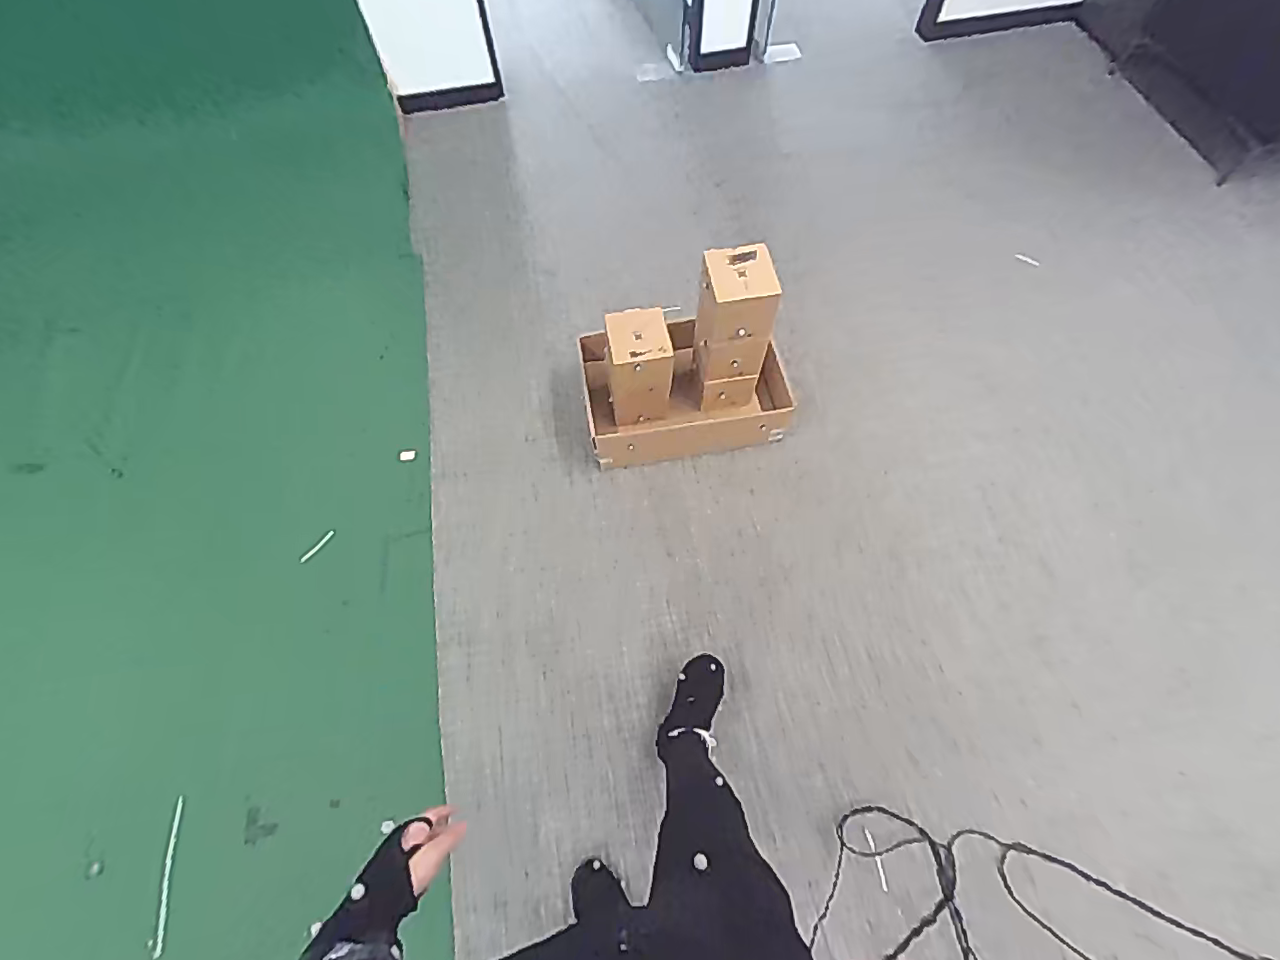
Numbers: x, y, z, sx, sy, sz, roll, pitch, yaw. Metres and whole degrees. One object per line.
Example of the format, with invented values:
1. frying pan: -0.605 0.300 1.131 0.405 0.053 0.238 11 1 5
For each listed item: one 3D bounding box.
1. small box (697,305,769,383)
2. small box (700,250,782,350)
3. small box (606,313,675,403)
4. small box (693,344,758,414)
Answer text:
1. small box: 0.263 -0.398 1.571 0.168 0.176 0.179 -8 64 -2
2. small box: 0.258 -0.471 1.424 0.168 0.176 0.179 -9 66 -2
3. small box: -0.002 -0.347 1.548 0.168 0.176 0.179 -10 65 -4
4. small box: 0.266 -0.325 1.719 0.168 0.176 0.179 -9 65 -2
